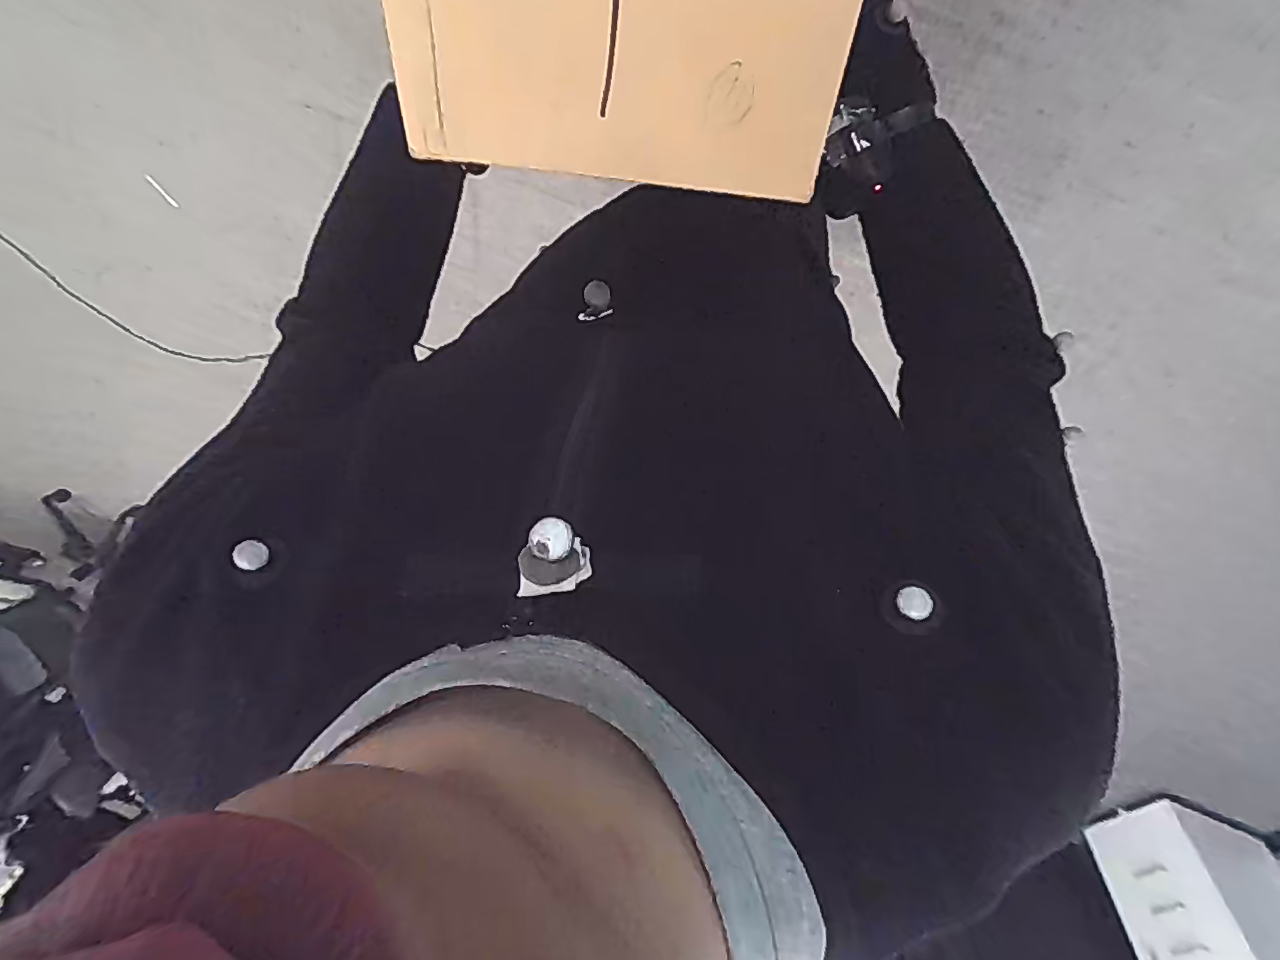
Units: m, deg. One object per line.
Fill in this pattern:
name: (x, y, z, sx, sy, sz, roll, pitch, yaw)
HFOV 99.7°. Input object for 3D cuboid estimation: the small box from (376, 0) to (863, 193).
small box: (0.002, -0.239, 0.216, 0.168, 0.176, 0.179, 8, 131, 2)
